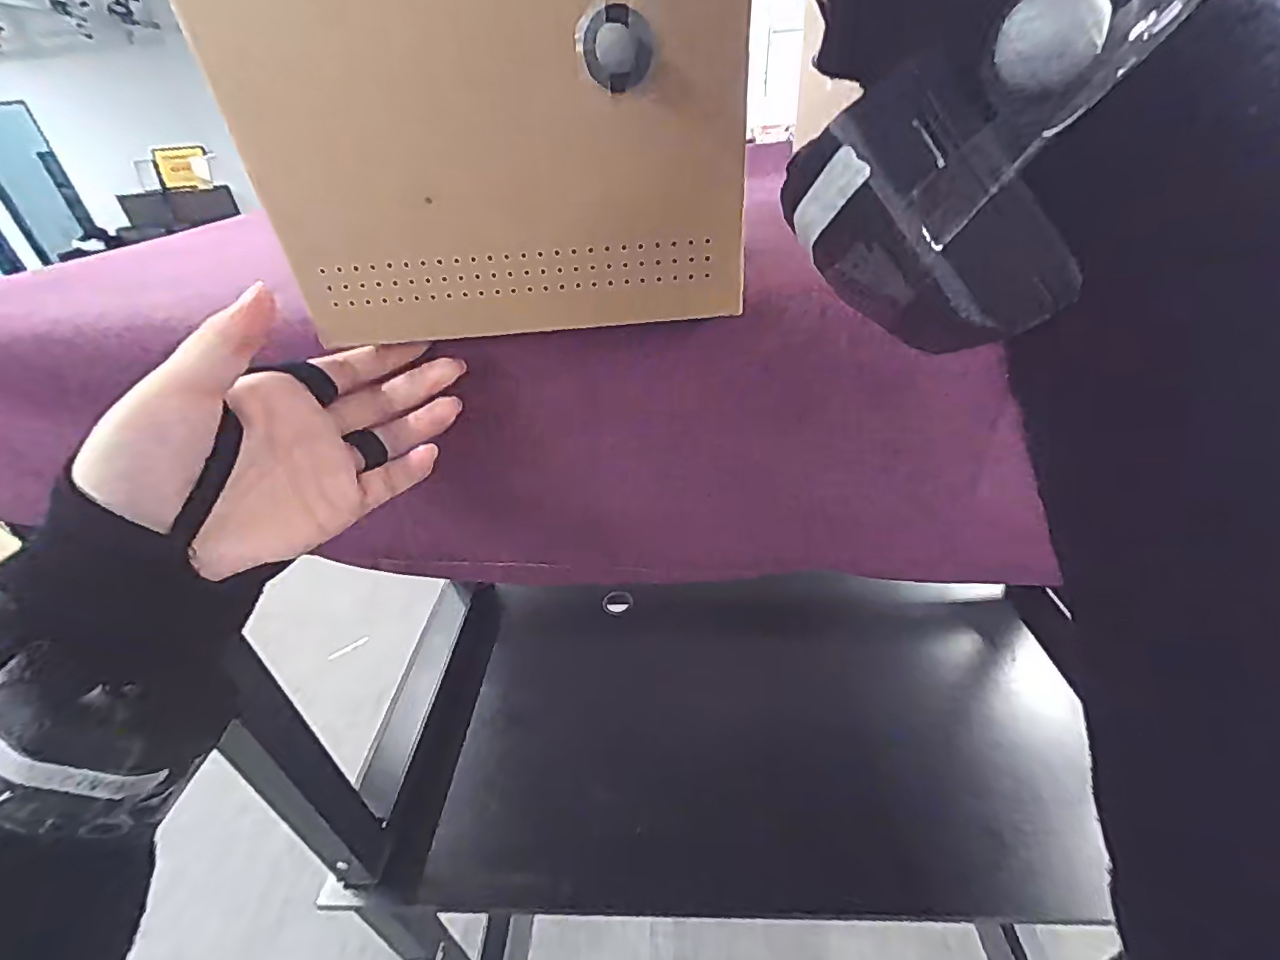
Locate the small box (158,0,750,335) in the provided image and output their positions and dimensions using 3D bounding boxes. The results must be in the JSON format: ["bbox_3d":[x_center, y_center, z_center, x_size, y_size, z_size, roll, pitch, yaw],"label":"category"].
[{"bbox_3d":[-0.053,-0.173,0.228,0.179,0.176,0.168,-5,36,1],"label":"small box"}]

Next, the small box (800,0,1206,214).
[{"bbox_3d":[0.213,-0.275,0.349,0.168,0.176,0.179,-4,33,-1],"label":"small box"}]
